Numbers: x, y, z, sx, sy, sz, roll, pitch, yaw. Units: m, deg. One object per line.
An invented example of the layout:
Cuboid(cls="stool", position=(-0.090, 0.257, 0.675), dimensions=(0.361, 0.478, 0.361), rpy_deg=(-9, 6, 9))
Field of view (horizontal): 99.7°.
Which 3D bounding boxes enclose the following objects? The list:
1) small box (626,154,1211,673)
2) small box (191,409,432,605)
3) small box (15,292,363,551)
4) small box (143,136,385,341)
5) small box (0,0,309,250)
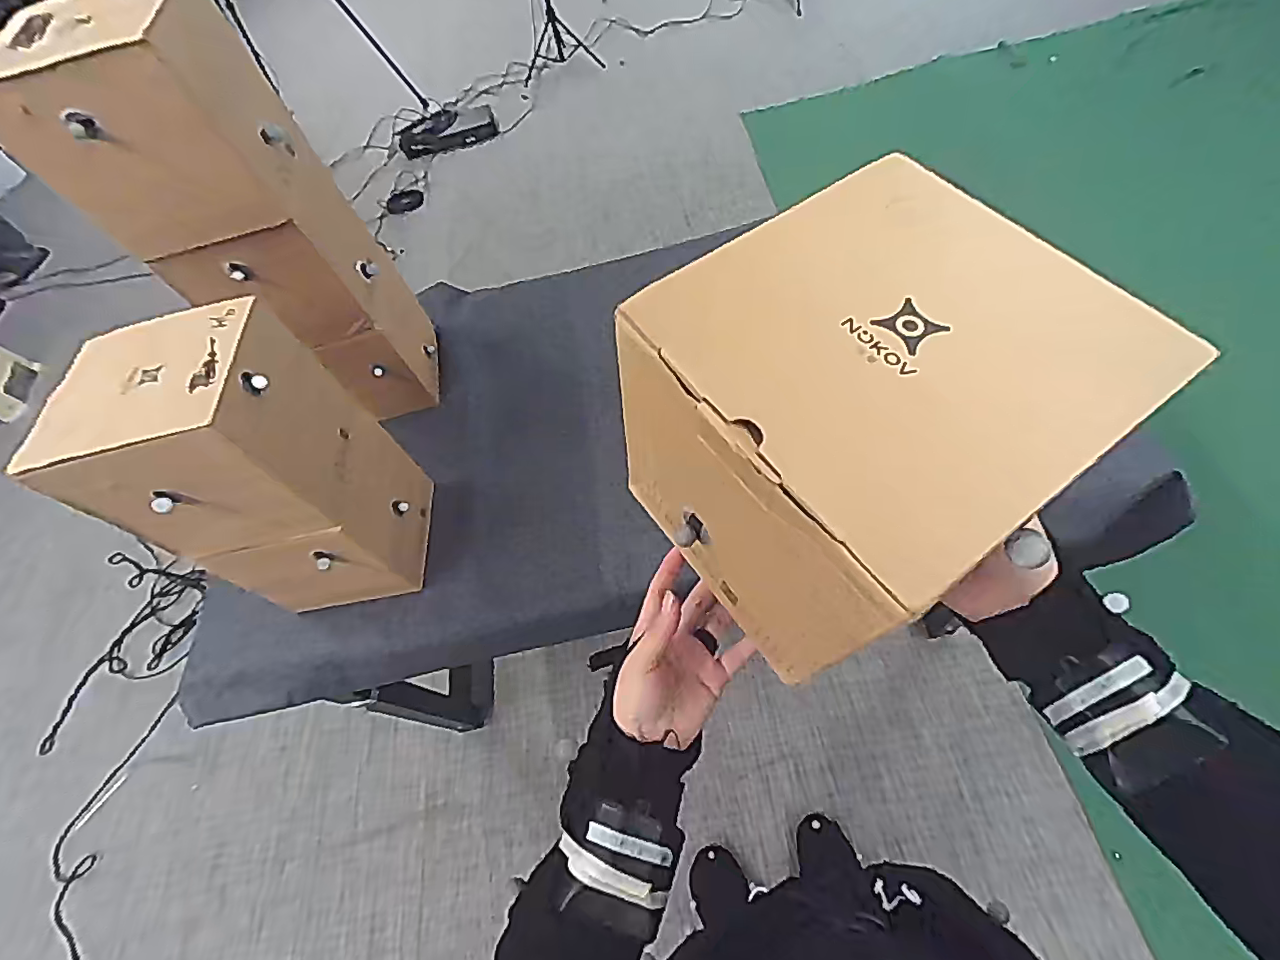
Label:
Cuboid(cls="small box", position=(0.109, -0.023, 0.290), dimensions=(0.179, 0.176, 0.168), rpy_deg=(-35, 67, -14))
Cuboid(cls="small box", position=(-0.380, 0.040, 0.668), dimensions=(0.179, 0.176, 0.168), rpy_deg=(-11, 56, 5))
Cuboid(cls="small box", position=(-0.412, -0.048, 0.534), dimensions=(0.179, 0.176, 0.168), rpy_deg=(-14, 57, 3))
Cuboid(cls="small box", position=(-0.455, -0.288, 0.687), dimensions=(0.179, 0.176, 0.168), rpy_deg=(-15, 61, 1))
Cuboid(cls="small box", position=(-0.476, -0.361, 0.540), dimensions=(0.179, 0.176, 0.168), rpy_deg=(-13, 61, 2))
